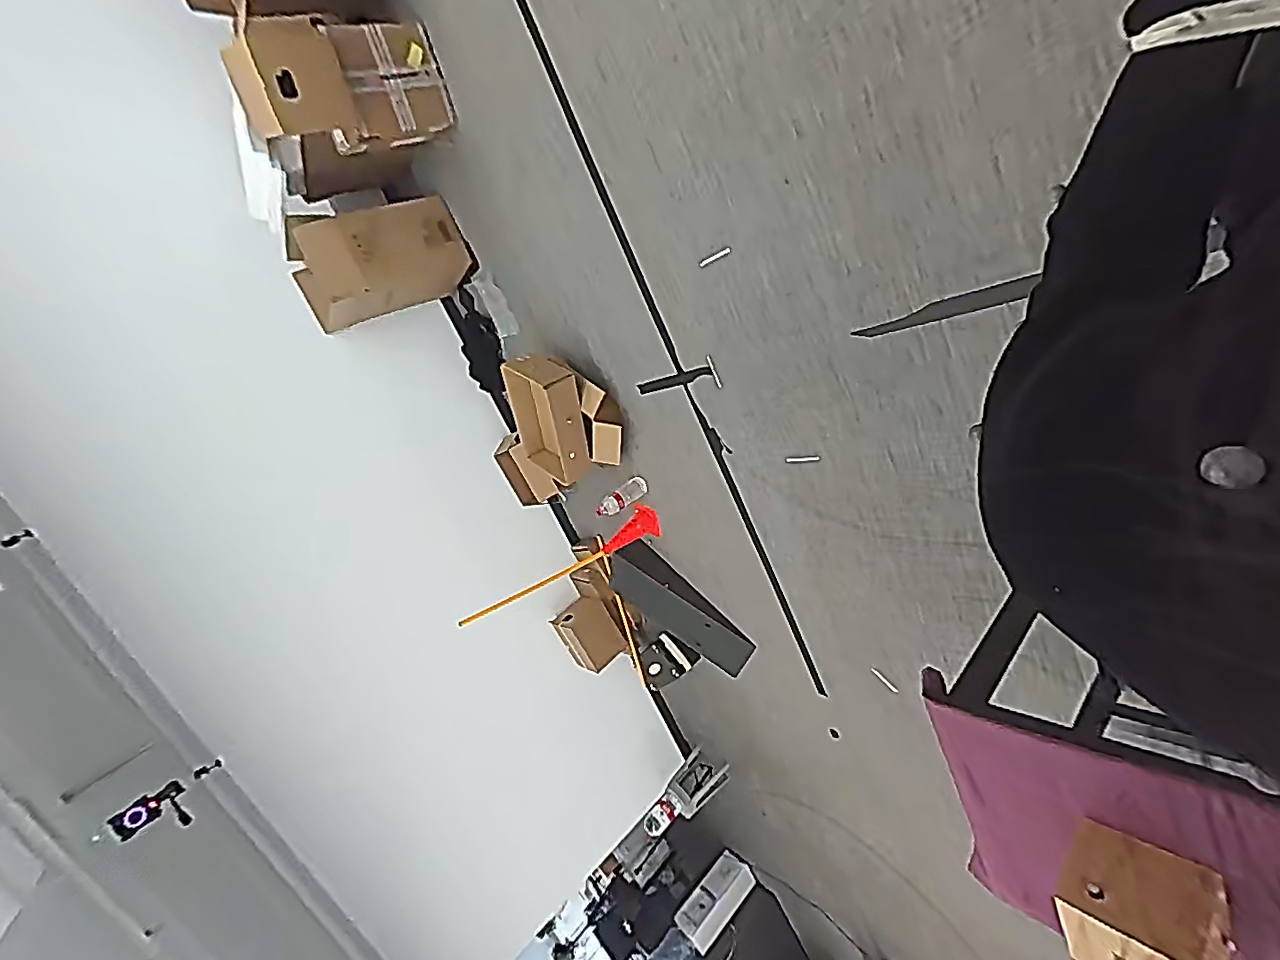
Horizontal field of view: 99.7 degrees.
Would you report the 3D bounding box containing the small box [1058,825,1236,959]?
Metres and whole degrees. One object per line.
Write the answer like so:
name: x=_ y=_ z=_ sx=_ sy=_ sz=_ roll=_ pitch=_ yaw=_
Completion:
small box: x=0.828 y=0.713 z=0.884 sx=0.179 sy=0.176 sz=0.168 roll=0 pitch=120 yaw=55
